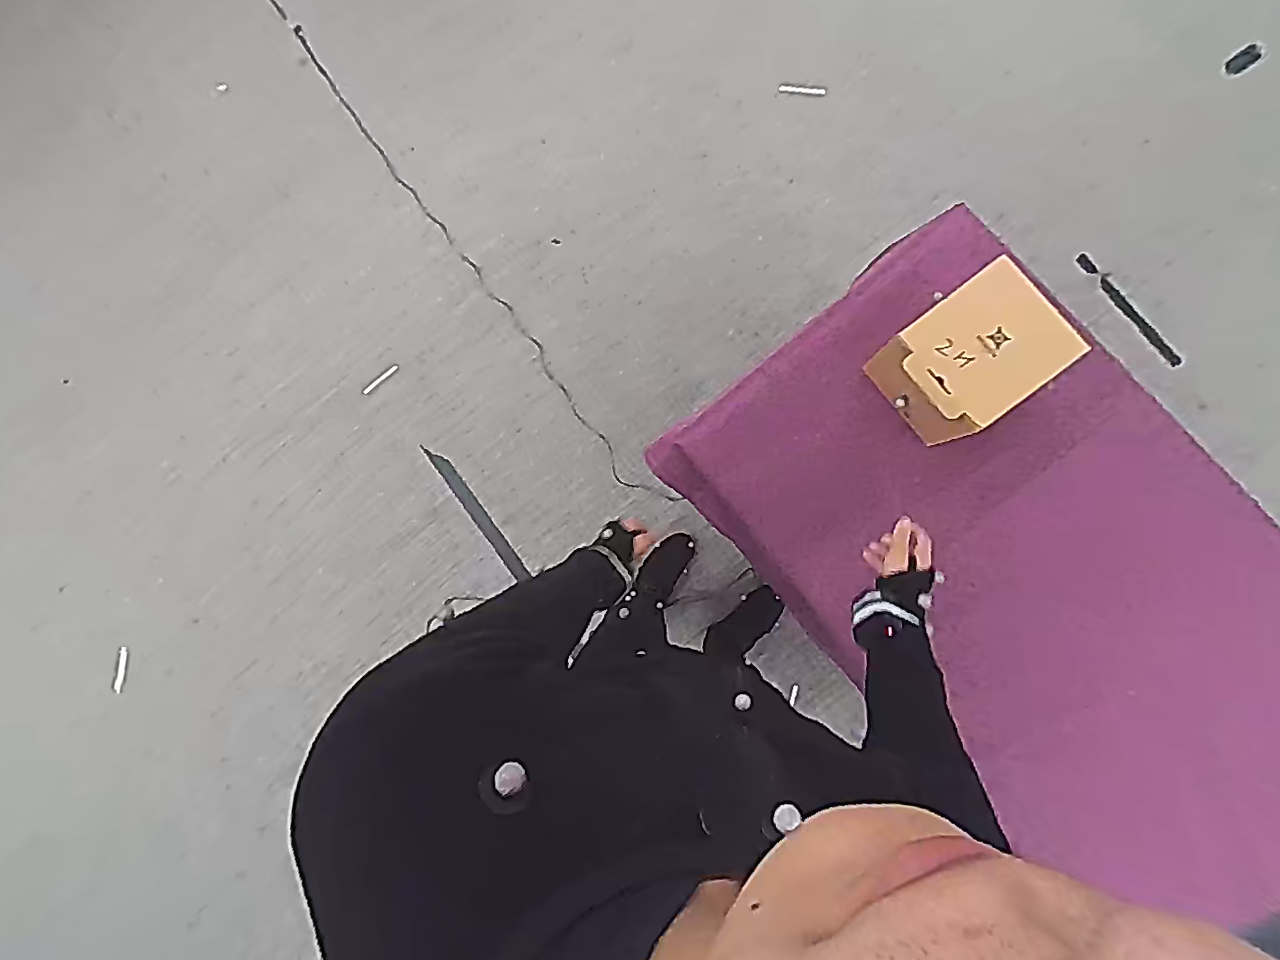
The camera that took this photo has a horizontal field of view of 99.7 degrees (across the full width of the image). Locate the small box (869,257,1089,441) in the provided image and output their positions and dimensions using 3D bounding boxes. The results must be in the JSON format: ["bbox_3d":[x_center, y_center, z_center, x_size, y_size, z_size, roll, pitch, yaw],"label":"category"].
[{"bbox_3d":[0.470,-0.176,0.783,0.179,0.176,0.168,-37,83,4],"label":"small box"}]
